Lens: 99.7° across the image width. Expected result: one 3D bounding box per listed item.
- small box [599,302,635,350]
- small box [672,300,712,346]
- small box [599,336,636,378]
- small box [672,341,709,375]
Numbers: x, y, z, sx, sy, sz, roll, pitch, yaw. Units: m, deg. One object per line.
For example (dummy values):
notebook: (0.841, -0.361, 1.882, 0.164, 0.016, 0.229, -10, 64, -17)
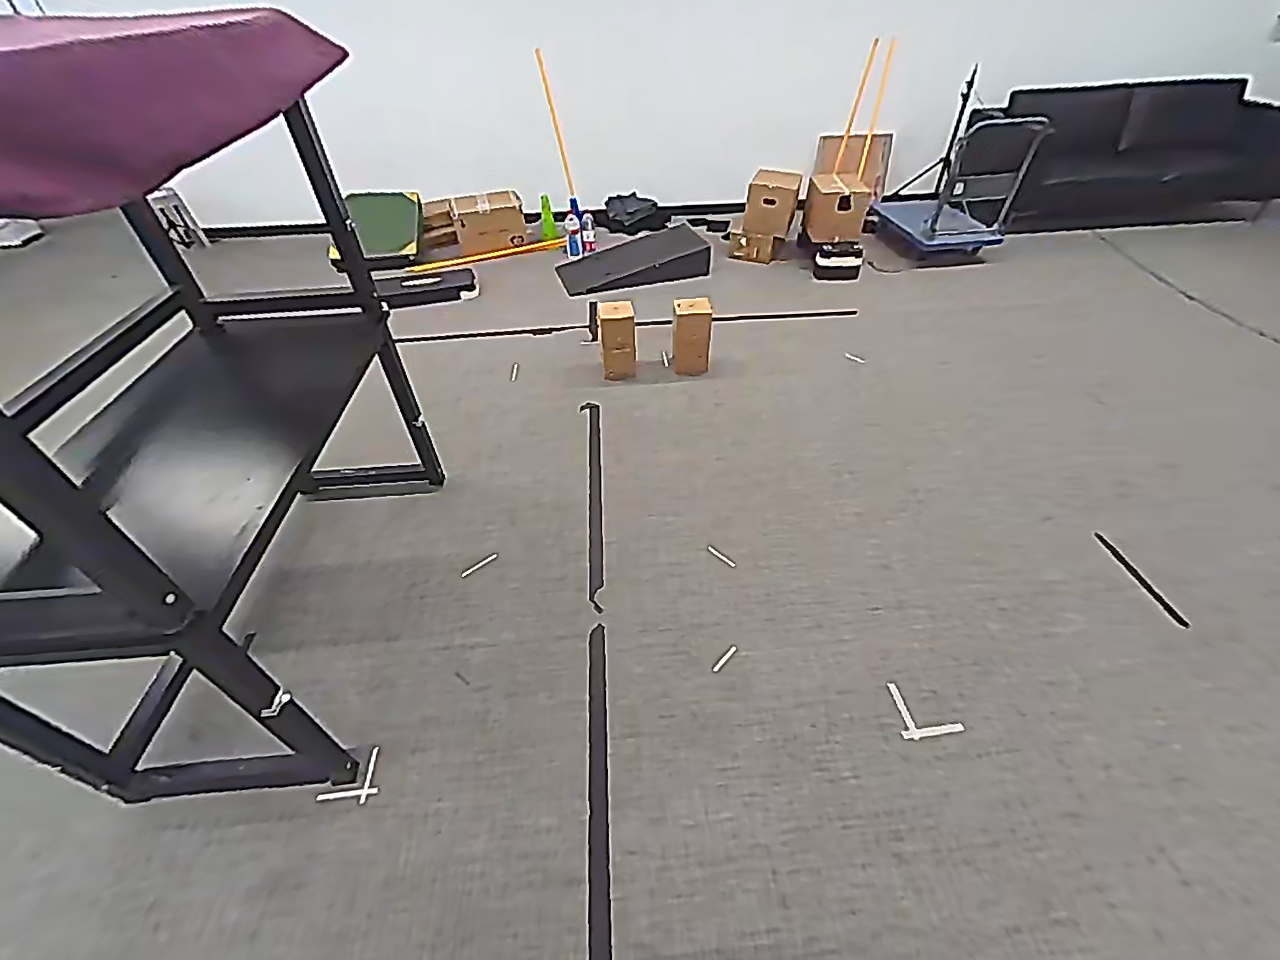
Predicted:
small box: (-0.117, -0.762, 2.676, 0.168, 0.176, 0.179, -6, 43, -5)
small box: (0.256, -0.781, 2.694, 0.179, 0.176, 0.168, -2, 42, -2)
small box: (-0.115, -0.636, 2.782, 0.168, 0.176, 0.179, -7, 43, -7)
small box: (0.259, -0.659, 2.804, 0.179, 0.176, 0.168, -2, 43, 0)
